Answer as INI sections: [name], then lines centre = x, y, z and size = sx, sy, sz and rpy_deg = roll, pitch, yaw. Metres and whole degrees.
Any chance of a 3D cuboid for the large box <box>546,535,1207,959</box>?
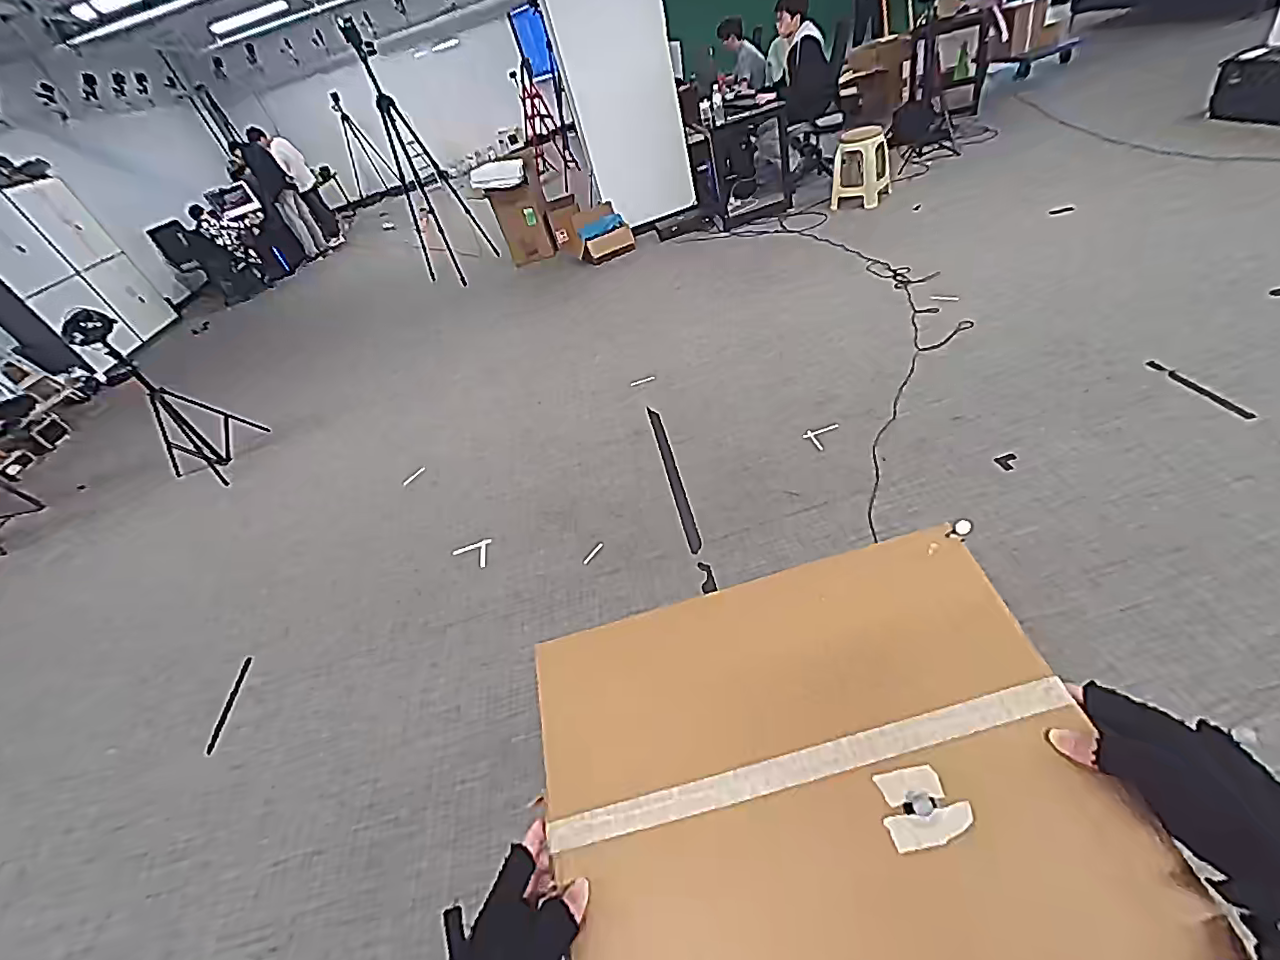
[large box]
centre = 0.159, 0.314, 0.543
size = 0.408, 0.320, 0.320
rpy_deg = -17, 52, 2
